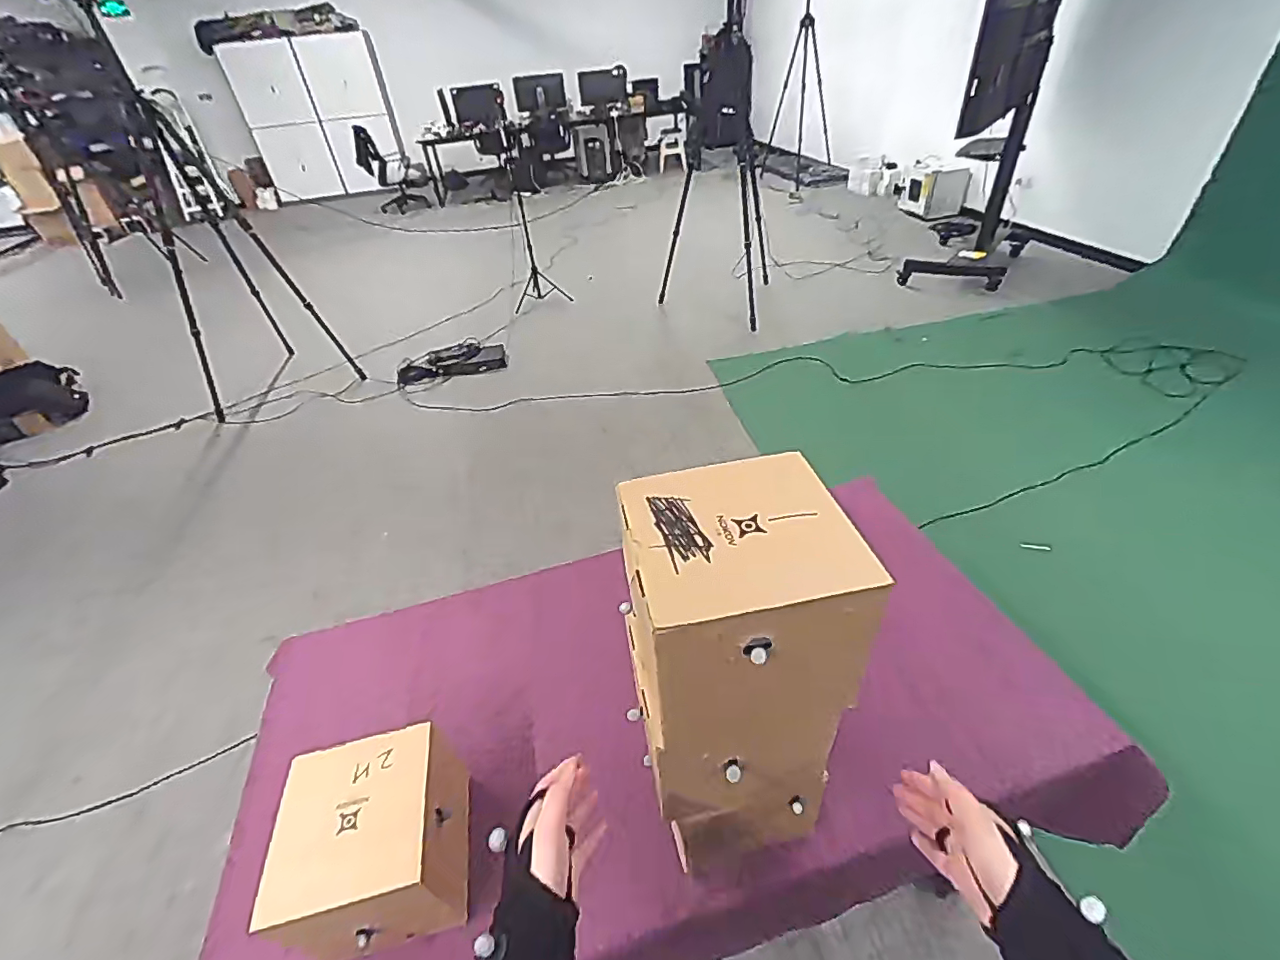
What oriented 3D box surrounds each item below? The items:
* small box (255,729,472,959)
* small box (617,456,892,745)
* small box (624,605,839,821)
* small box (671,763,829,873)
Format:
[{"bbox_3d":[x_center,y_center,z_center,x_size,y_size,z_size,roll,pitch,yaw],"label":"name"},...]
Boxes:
[{"bbox_3d":[-0.306,0.438,0.645,0.168,0.176,0.179,-12,39,-7],"label":"small box"},{"bbox_3d":[0.084,0.105,0.475,0.179,0.176,0.168,-10,39,-6],"label":"small box"},{"bbox_3d":[0.090,0.233,0.578,0.179,0.176,0.168,-11,39,-5],"label":"small box"},{"bbox_3d":[0.113,0.358,0.682,0.179,0.176,0.168,-13,39,-8],"label":"small box"}]
